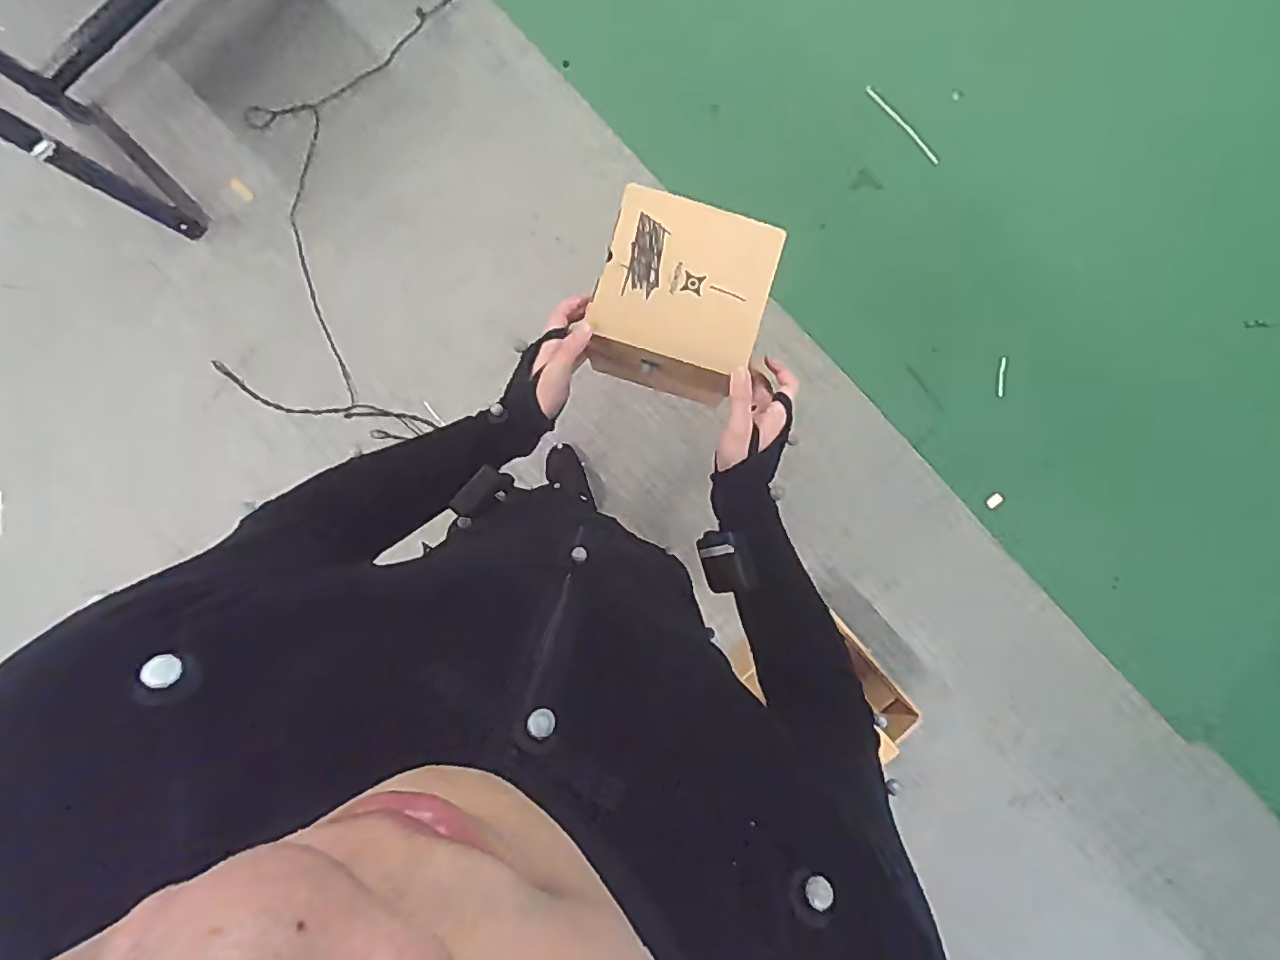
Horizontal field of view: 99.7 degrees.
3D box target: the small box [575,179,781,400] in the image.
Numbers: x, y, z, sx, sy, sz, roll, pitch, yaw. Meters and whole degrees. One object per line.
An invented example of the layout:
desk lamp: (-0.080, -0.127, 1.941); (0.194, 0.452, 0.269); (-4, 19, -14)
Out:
small box: (0.037, -0.204, 0.629); (0.179, 0.176, 0.168); (17, 87, -1)
